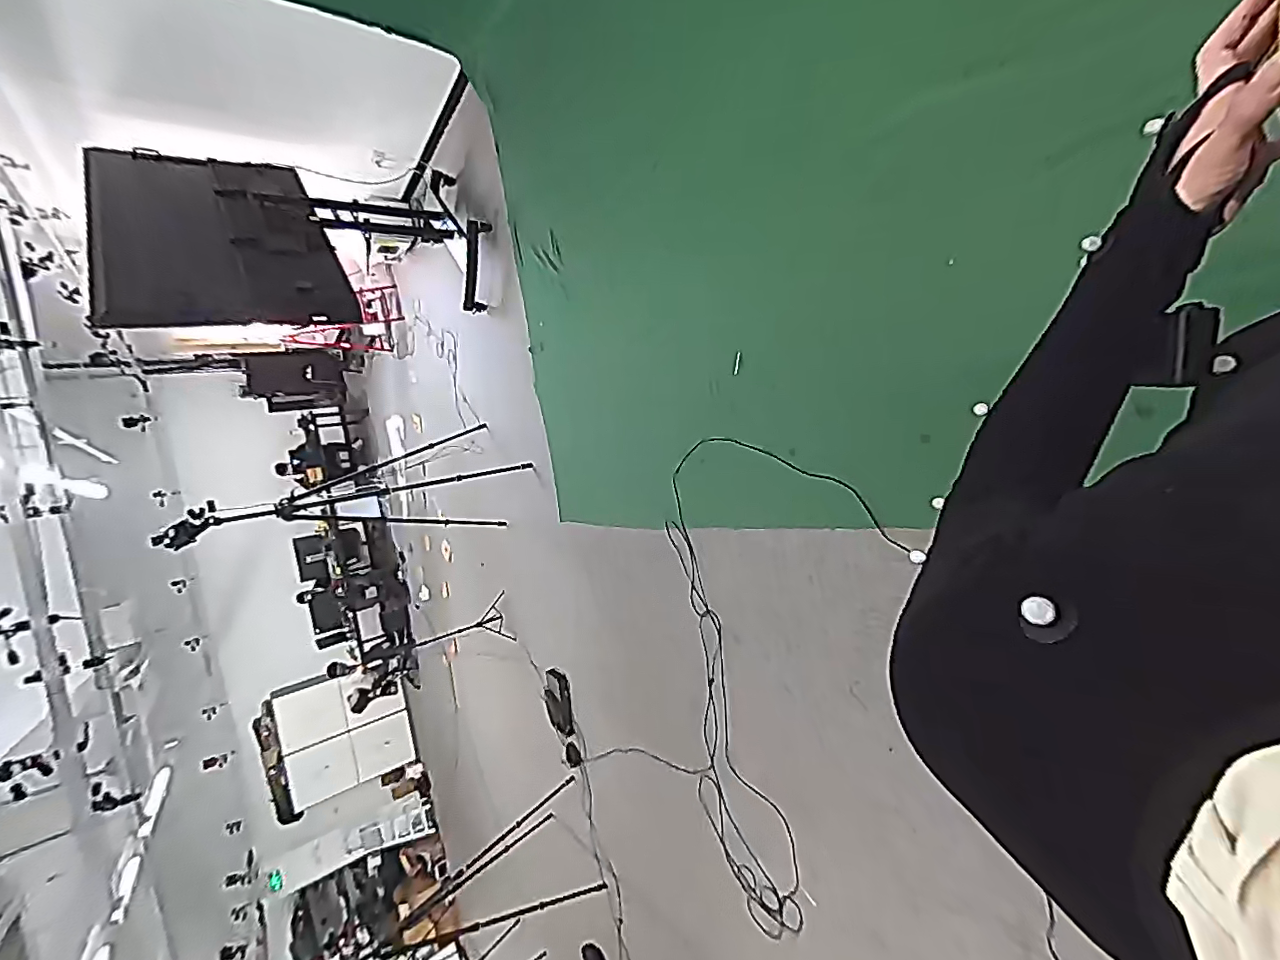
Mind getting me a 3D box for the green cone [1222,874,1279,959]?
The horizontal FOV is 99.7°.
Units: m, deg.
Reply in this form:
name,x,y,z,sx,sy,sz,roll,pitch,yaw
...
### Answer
name,x,y,z,sx,sy,sz,roll,pitch,yaw
green cone,1.321,1.045,1.110,0.202,0.368,0.200,-6,95,54
